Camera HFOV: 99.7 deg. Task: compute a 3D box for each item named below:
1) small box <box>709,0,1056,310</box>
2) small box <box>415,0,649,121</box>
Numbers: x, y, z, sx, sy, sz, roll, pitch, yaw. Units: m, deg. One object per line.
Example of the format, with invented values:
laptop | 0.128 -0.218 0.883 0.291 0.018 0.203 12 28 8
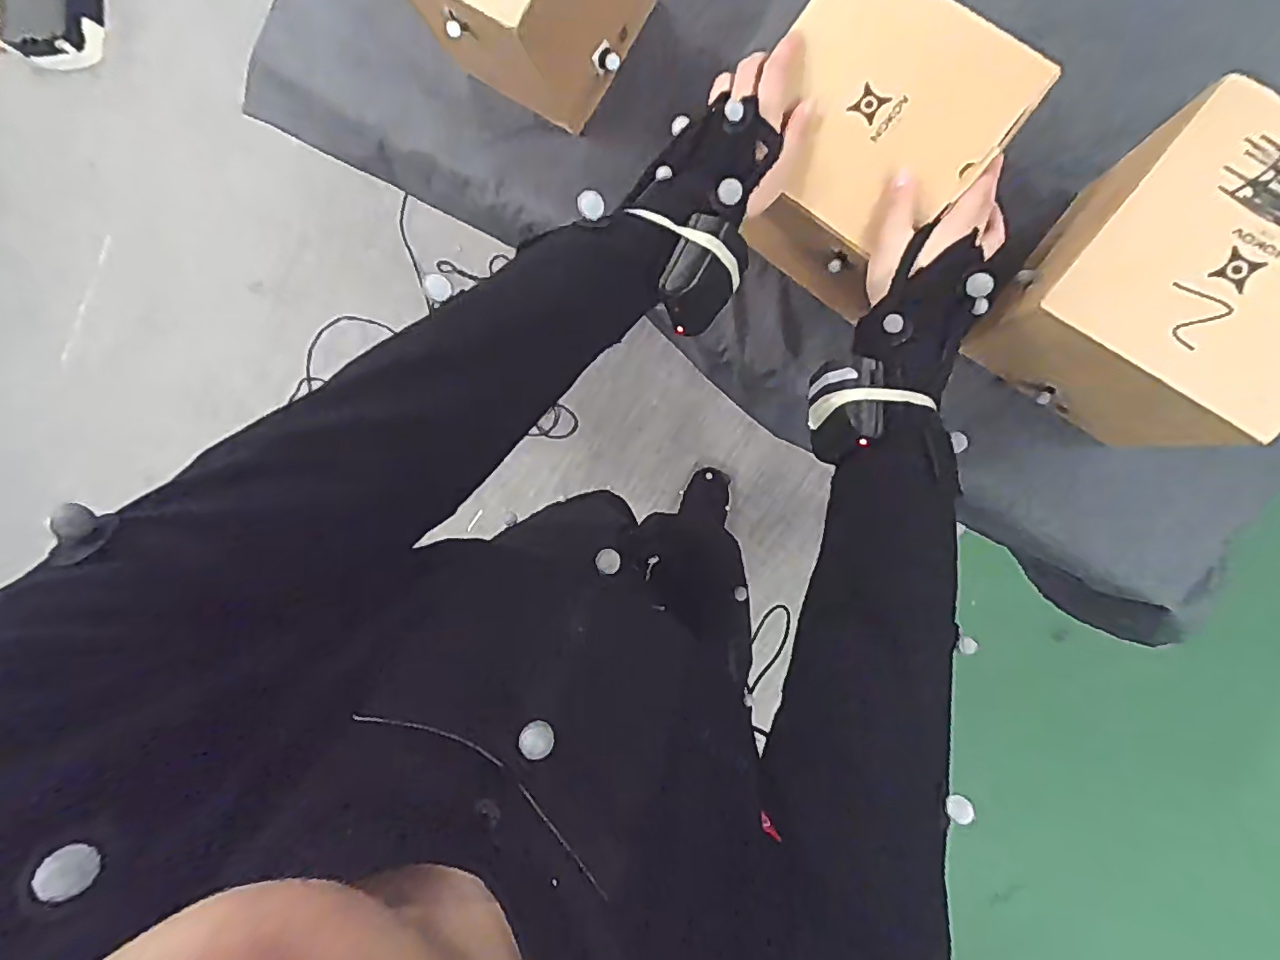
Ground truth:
small box | 0.182 -0.272 0.464 0.179 0.176 0.168 40 100 7
small box | -0.114 -0.492 0.515 0.179 0.176 0.168 35 101 7
